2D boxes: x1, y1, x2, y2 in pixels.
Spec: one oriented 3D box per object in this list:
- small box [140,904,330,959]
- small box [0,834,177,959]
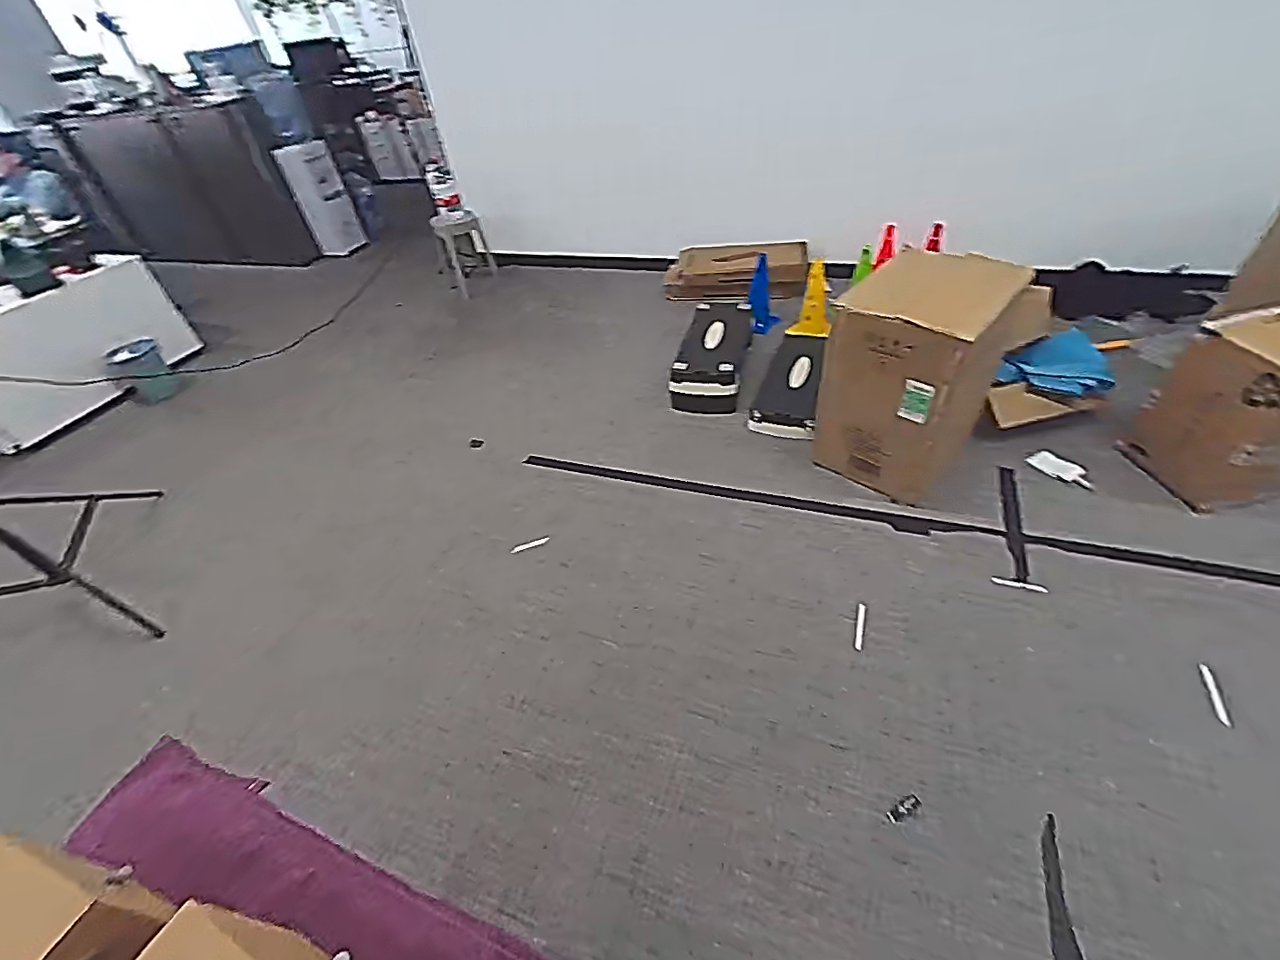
[{"bbox_3d":[-0.320,0.475,0.406,0.168,0.176,0.179,13,46,24],"label":"small box"},{"bbox_3d":[-0.546,0.452,0.468,0.168,0.176,0.179,10,45,18],"label":"small box"}]
